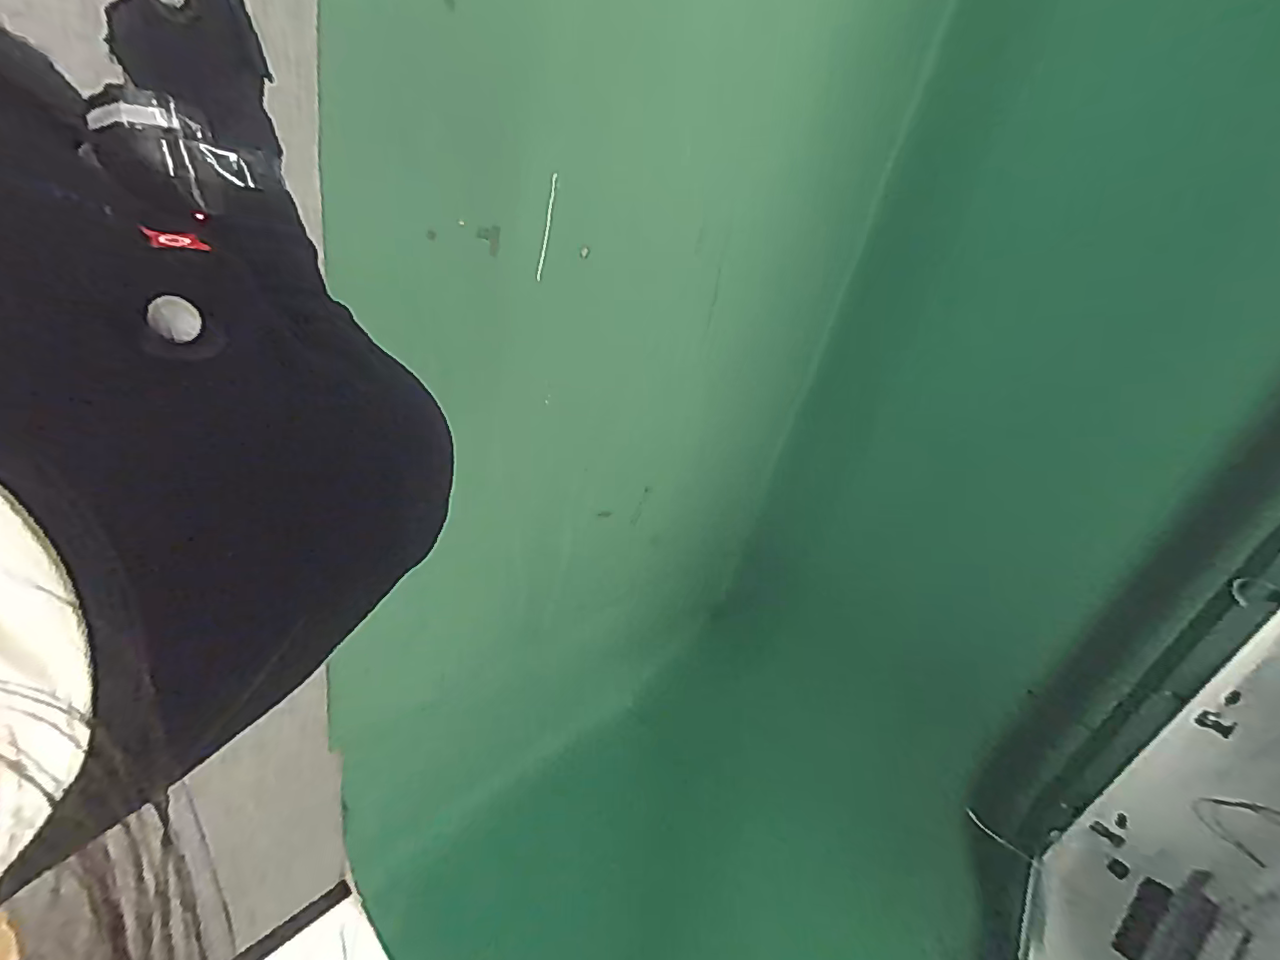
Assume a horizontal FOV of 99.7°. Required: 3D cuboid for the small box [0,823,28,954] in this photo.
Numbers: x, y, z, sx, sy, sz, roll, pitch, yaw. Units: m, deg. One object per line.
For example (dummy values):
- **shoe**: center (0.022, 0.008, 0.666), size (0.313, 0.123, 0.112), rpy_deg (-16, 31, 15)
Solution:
- **small box**: center (-1.257, 0.776, 0.973), size (0.179, 0.176, 0.168), rpy_deg (-18, 126, -46)
